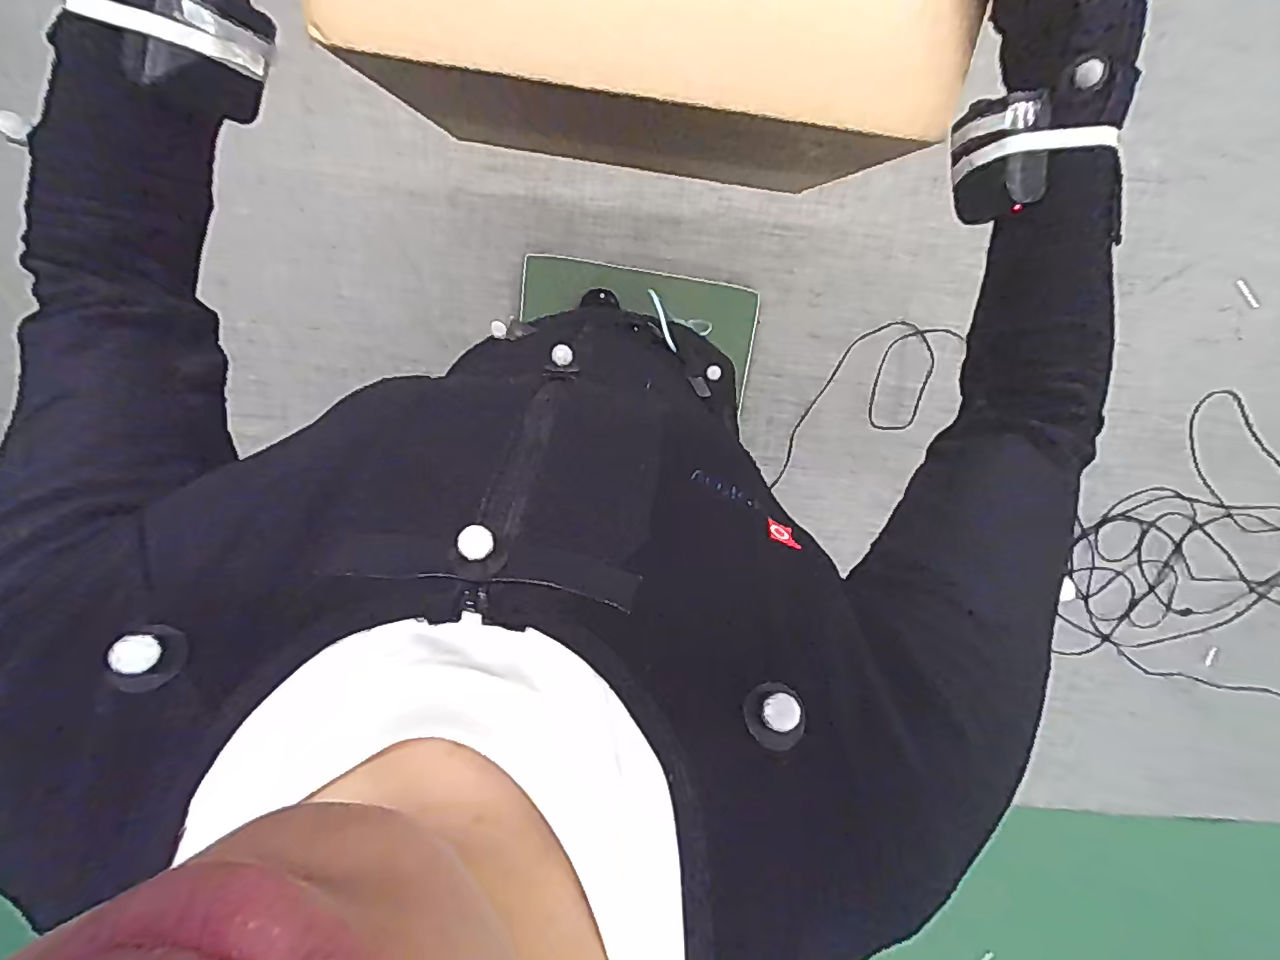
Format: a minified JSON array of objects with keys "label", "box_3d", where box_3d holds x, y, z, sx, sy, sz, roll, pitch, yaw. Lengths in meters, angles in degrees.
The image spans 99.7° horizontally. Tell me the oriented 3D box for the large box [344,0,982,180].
[{"label":"large box","box_3d":[0.022,-0.454,0.431,0.408,0.320,0.320,5,113,-5]}]
